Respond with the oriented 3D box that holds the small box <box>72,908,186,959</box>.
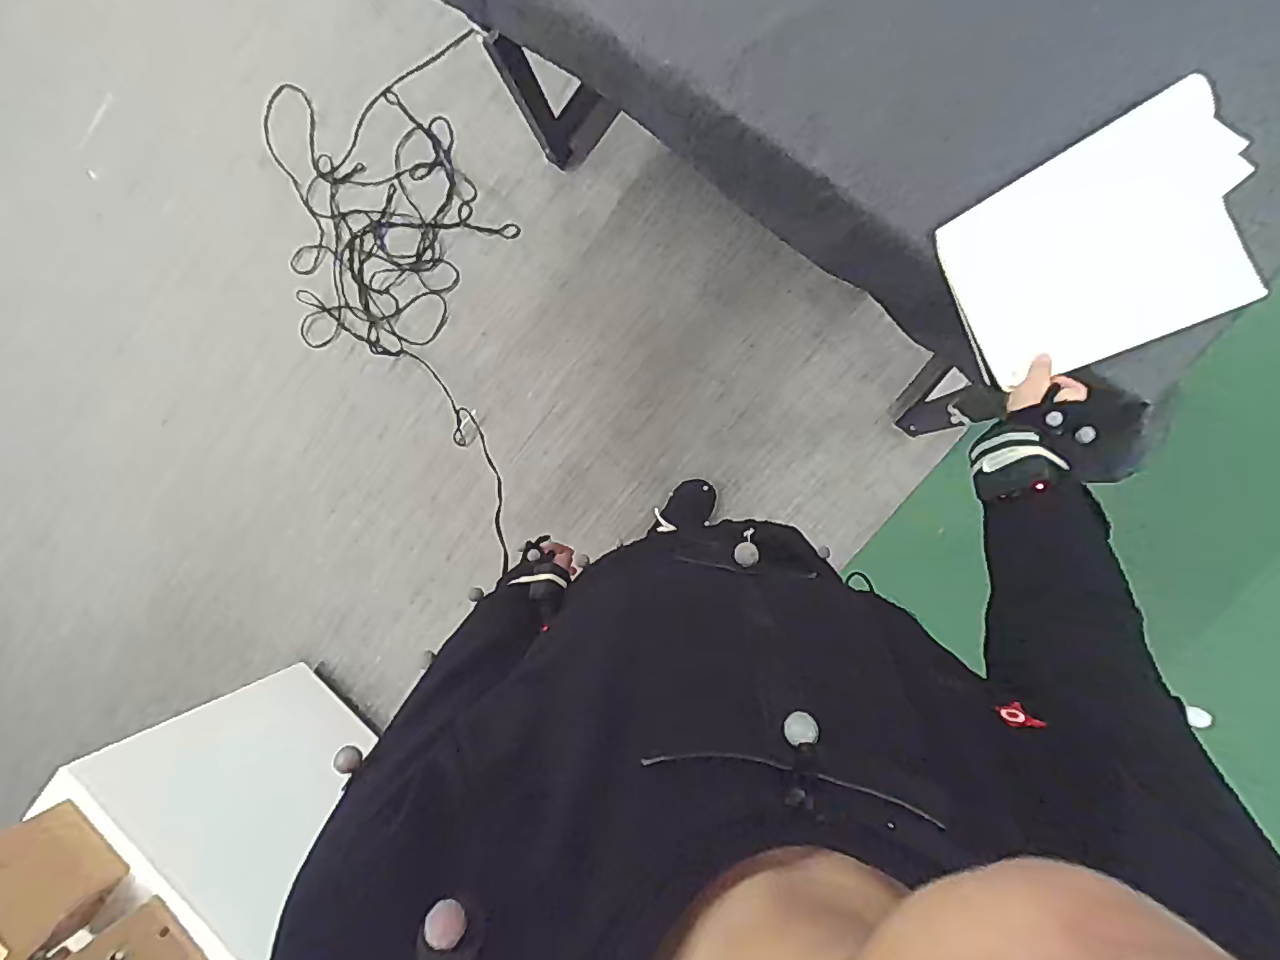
[{"bbox_3d":[-0.842,0.828,0.833,0.168,0.176,0.179,45,98,8],"label":"small box"}]
